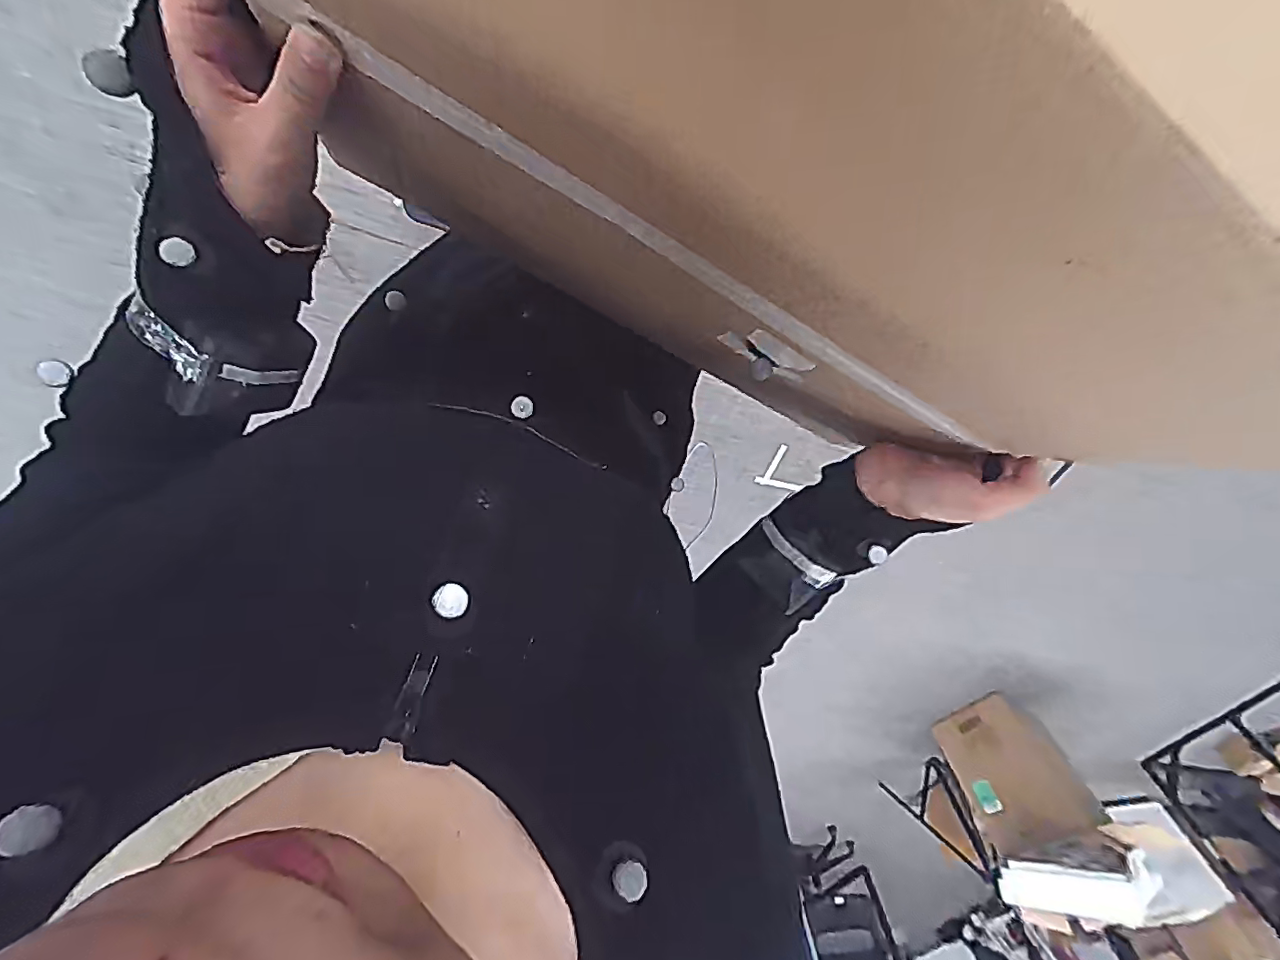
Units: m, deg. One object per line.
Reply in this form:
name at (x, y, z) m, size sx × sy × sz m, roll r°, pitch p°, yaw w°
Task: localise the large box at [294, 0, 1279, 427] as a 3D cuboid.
large box at (0.111, -0.248, 0.223) m, size 0.408 × 0.320 × 0.320 m, roll 24°, pitch 89°, yaw -17°
